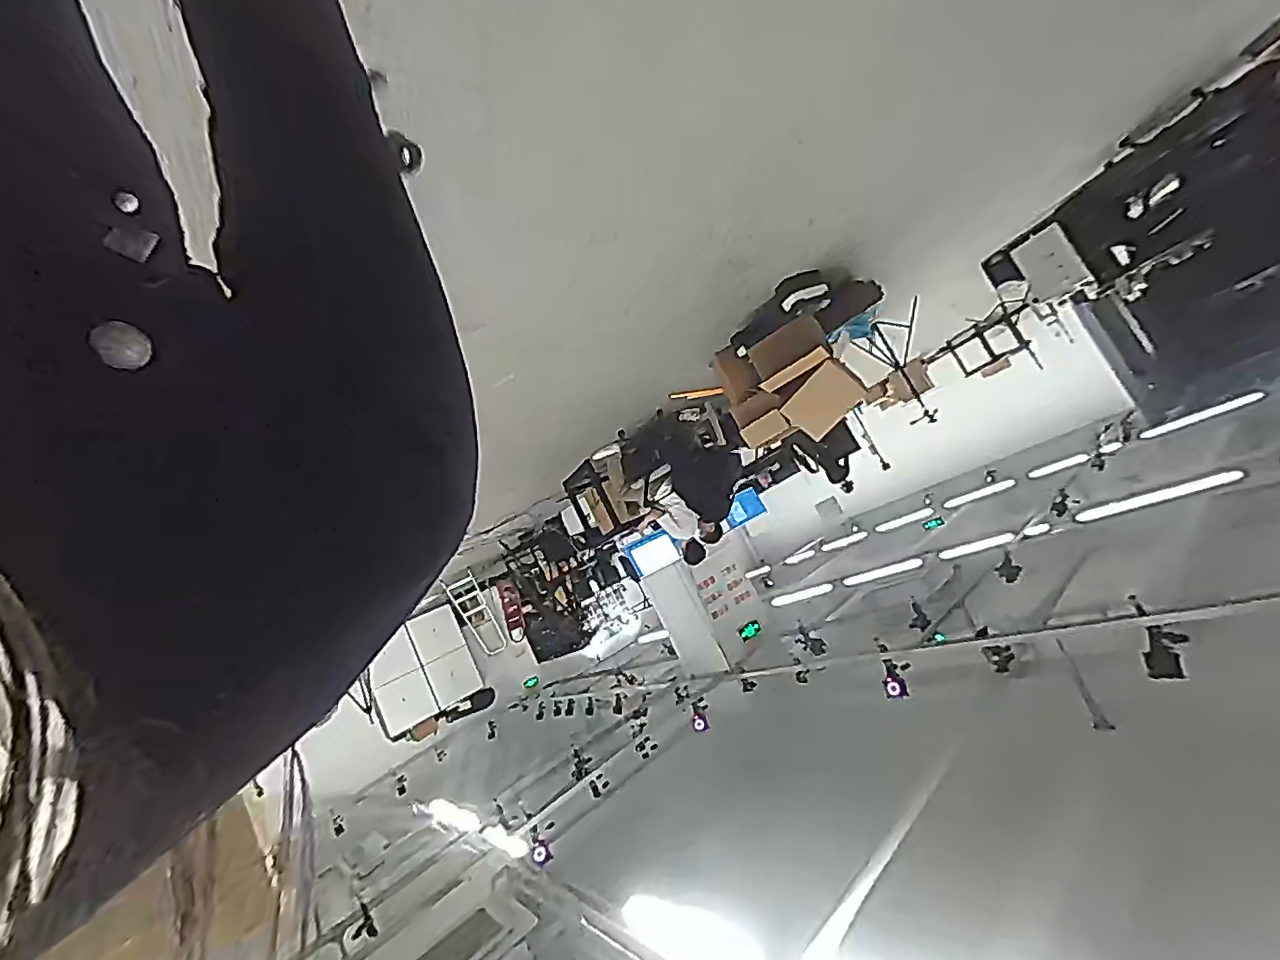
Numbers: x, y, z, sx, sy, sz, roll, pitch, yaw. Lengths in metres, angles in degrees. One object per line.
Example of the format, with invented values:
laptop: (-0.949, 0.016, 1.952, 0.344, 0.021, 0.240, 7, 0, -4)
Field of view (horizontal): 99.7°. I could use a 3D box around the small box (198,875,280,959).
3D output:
small box: (-1.288, 1.421, 1.741, 0.168, 0.176, 0.179, -22, 167, -36)
